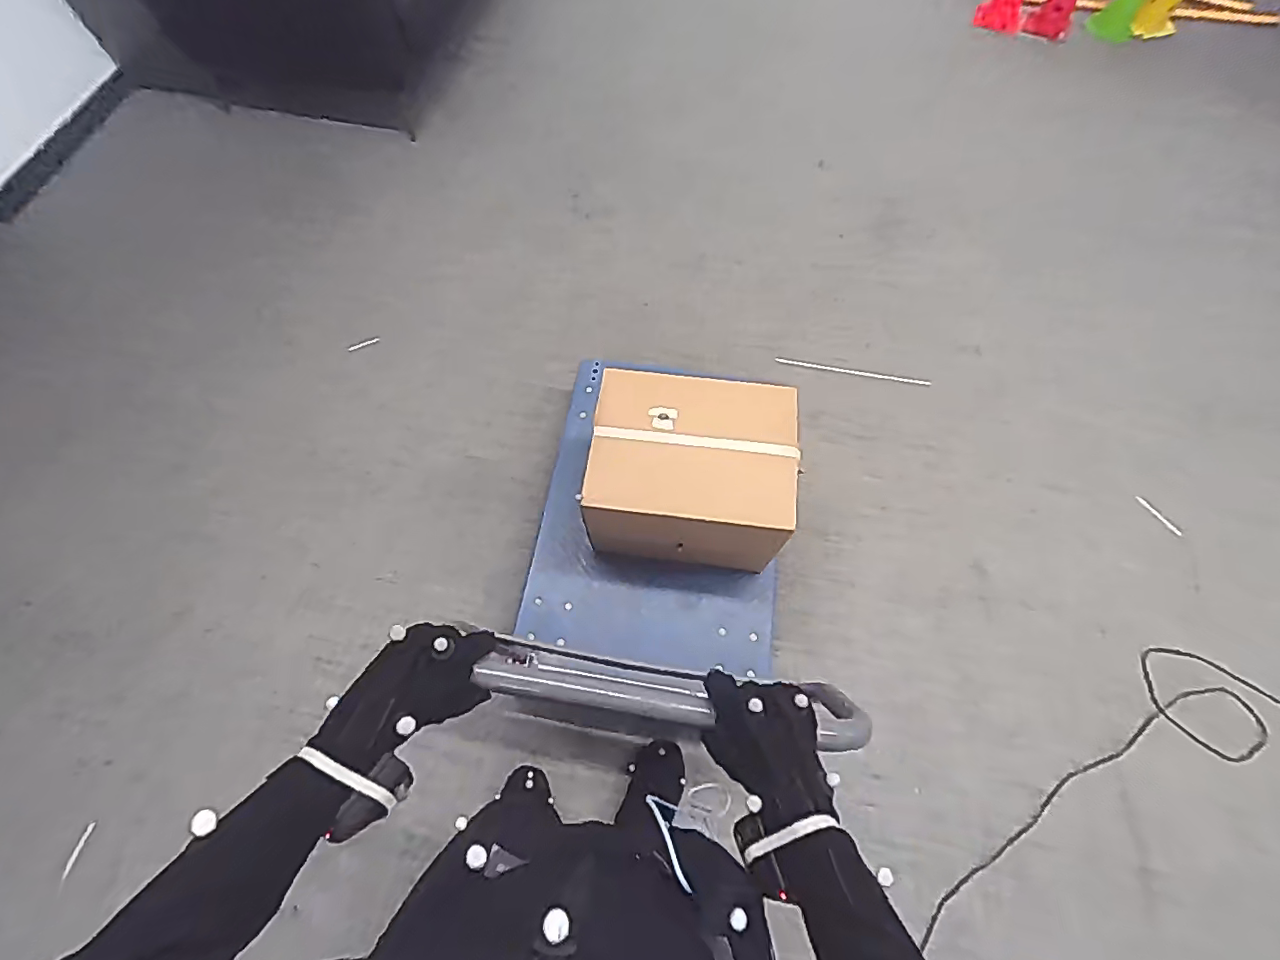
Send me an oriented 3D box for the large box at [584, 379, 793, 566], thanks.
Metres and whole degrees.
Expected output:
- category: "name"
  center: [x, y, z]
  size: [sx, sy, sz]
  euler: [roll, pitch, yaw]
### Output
- category: "large box"
  center: [0.108, -0.003, 1.213]
  size: [0.408, 0.320, 0.320]
  euler: [5, 66, 4]
